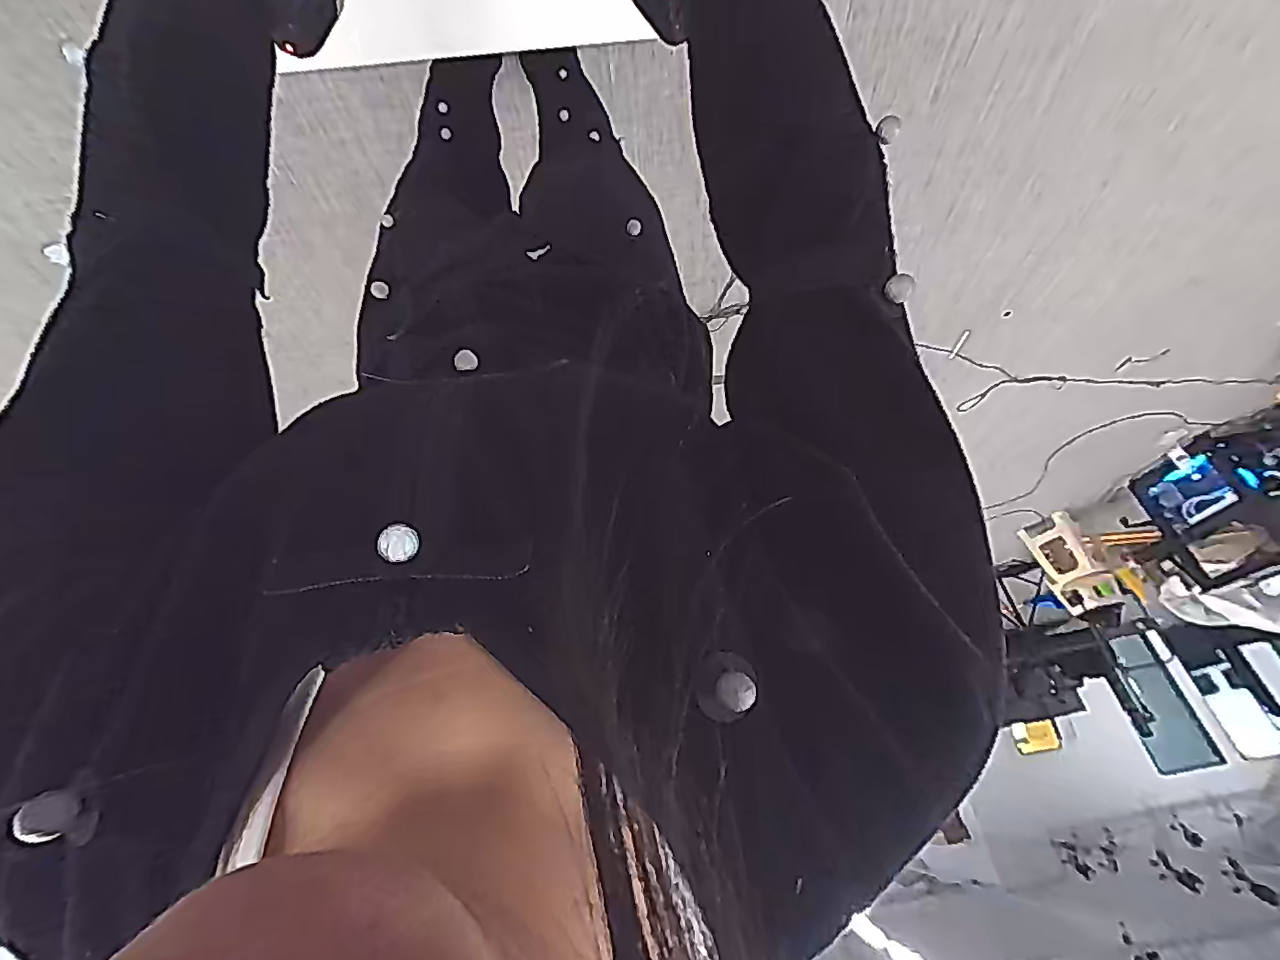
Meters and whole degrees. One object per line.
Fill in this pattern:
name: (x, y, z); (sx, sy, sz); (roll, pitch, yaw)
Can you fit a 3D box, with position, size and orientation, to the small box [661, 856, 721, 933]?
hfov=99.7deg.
small box: (0.168, 1.408, 1.848); (0.168, 0.176, 0.179); (-8, 151, -4)
